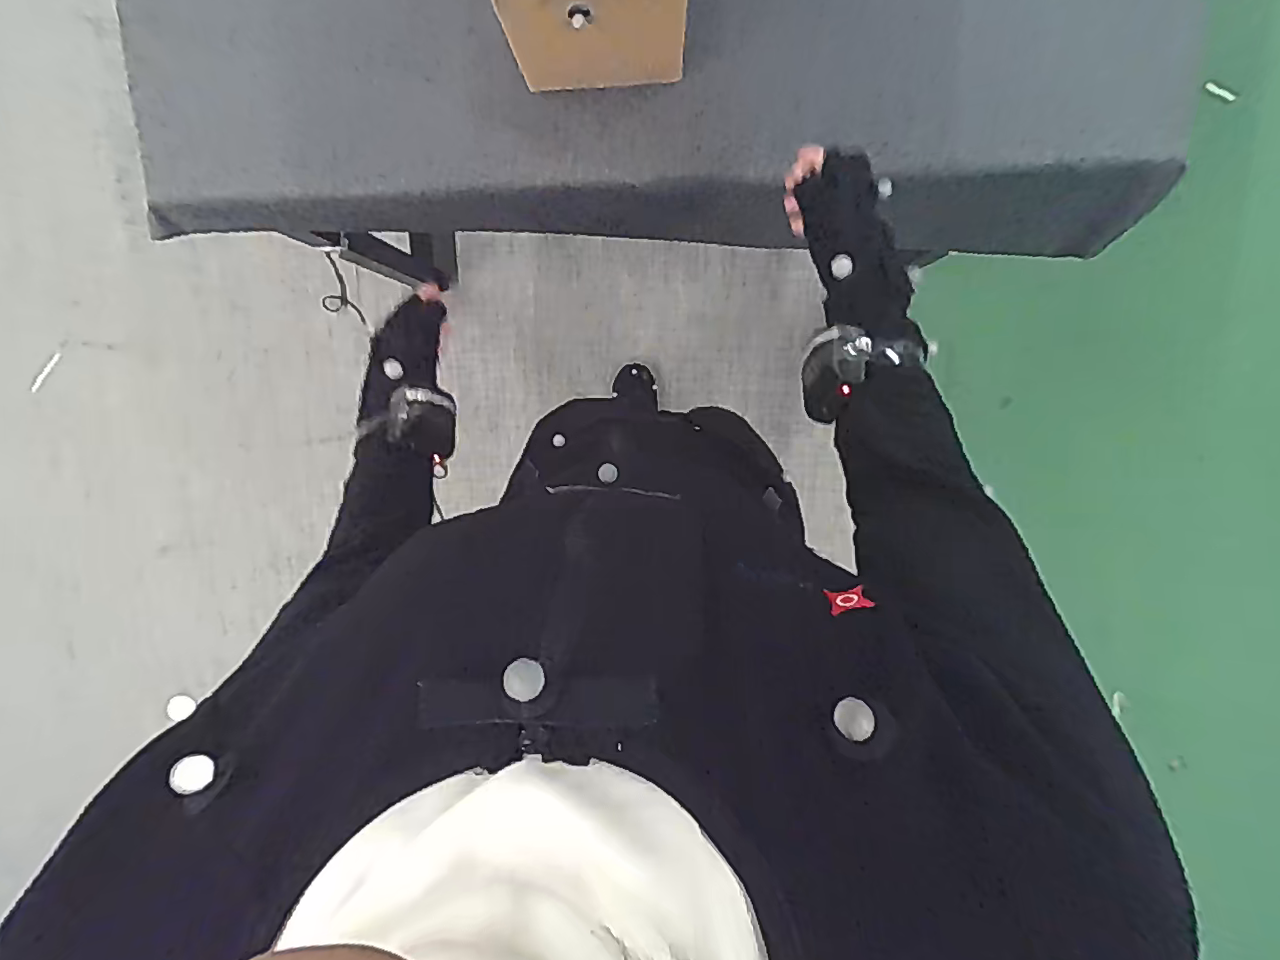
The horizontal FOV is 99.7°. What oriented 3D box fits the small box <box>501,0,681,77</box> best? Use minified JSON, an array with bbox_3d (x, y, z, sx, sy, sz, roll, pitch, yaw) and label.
[{"bbox_3d":[-0.048,-0.523,0.520,0.179,0.176,0.168,-1,100,3],"label":"small box"}]
